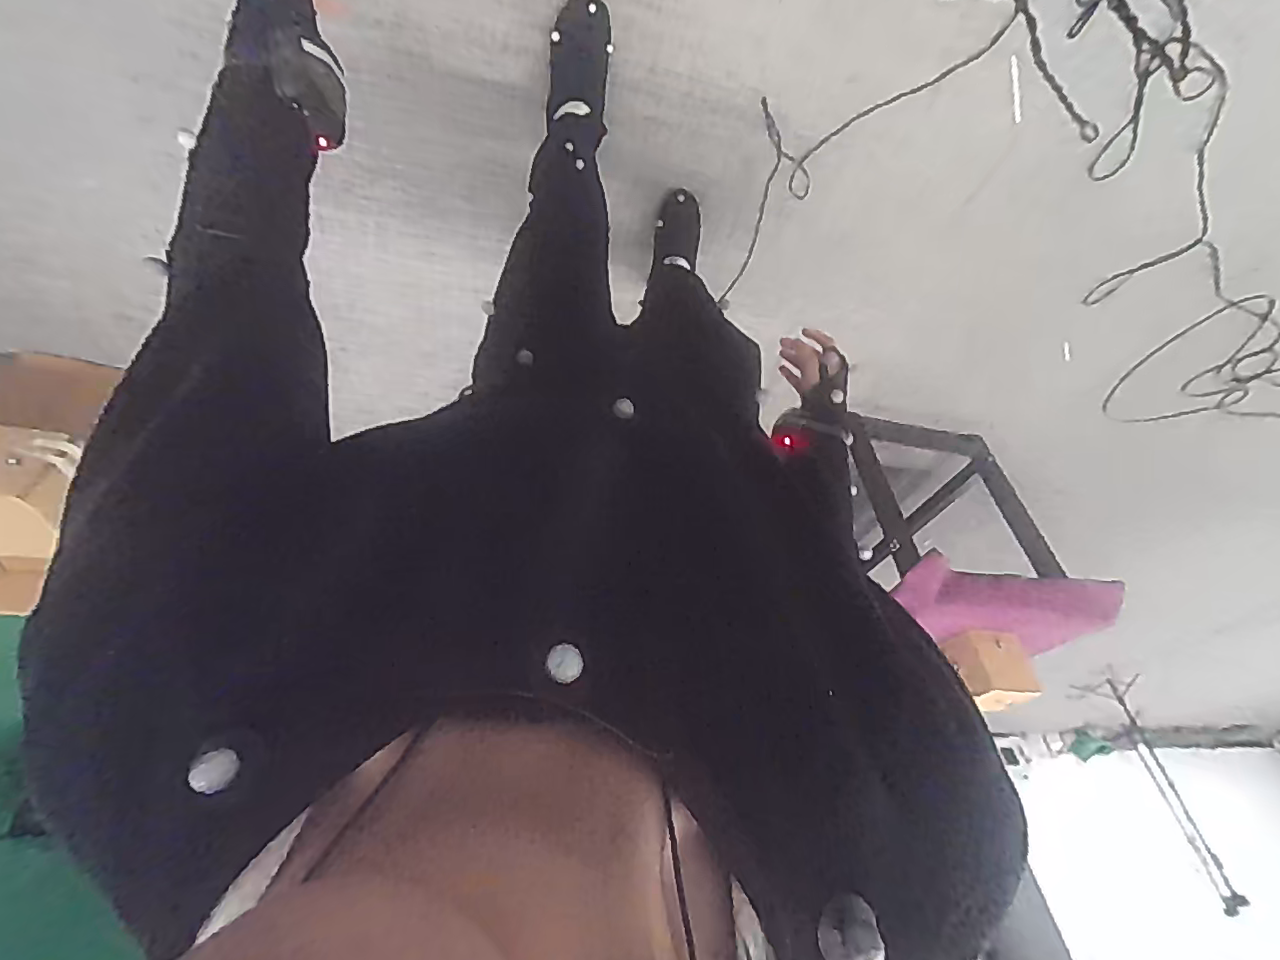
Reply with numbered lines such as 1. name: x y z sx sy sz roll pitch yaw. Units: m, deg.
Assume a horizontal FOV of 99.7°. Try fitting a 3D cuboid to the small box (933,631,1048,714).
1. small box: 0.961 0.534 1.503 0.179 0.176 0.168 9 140 -15
